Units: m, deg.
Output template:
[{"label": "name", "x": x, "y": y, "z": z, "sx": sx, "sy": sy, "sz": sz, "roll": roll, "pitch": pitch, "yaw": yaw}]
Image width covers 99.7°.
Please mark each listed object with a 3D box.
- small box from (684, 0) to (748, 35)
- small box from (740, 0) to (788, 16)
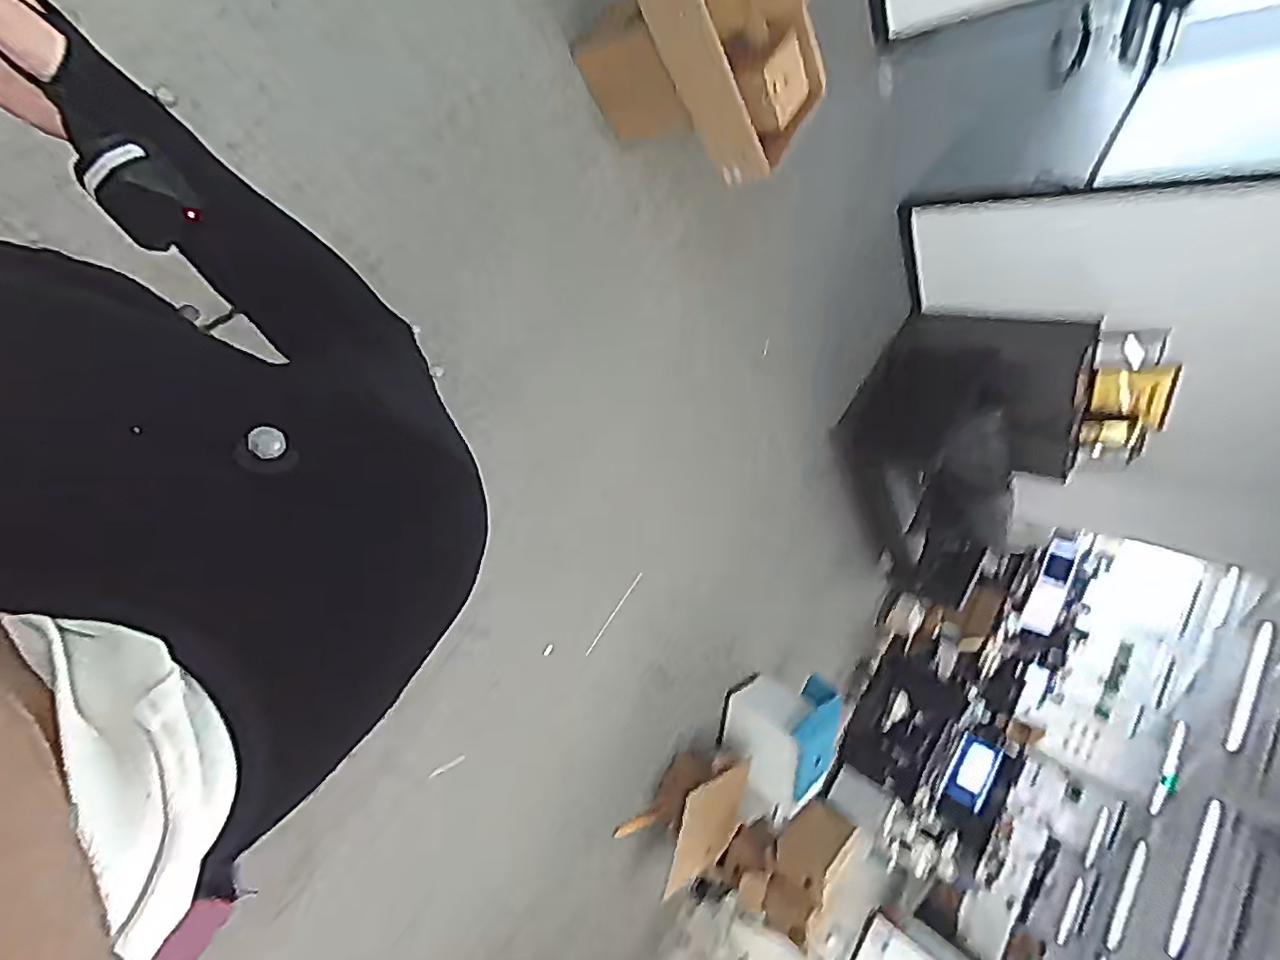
[{"label": "small box", "x": 0.216, "y": -1.310, "z": 1.401, "sx": 0.168, "sy": 0.176, "sz": 0.179, "roll": 43, "pitch": 73, "yaw": -45}, {"label": "small box", "x": 0.330, "y": -1.267, "z": 1.292, "sx": 0.179, "sy": 0.176, "sz": 0.168, "roll": -57, "pitch": 136, "yaw": -15}]
